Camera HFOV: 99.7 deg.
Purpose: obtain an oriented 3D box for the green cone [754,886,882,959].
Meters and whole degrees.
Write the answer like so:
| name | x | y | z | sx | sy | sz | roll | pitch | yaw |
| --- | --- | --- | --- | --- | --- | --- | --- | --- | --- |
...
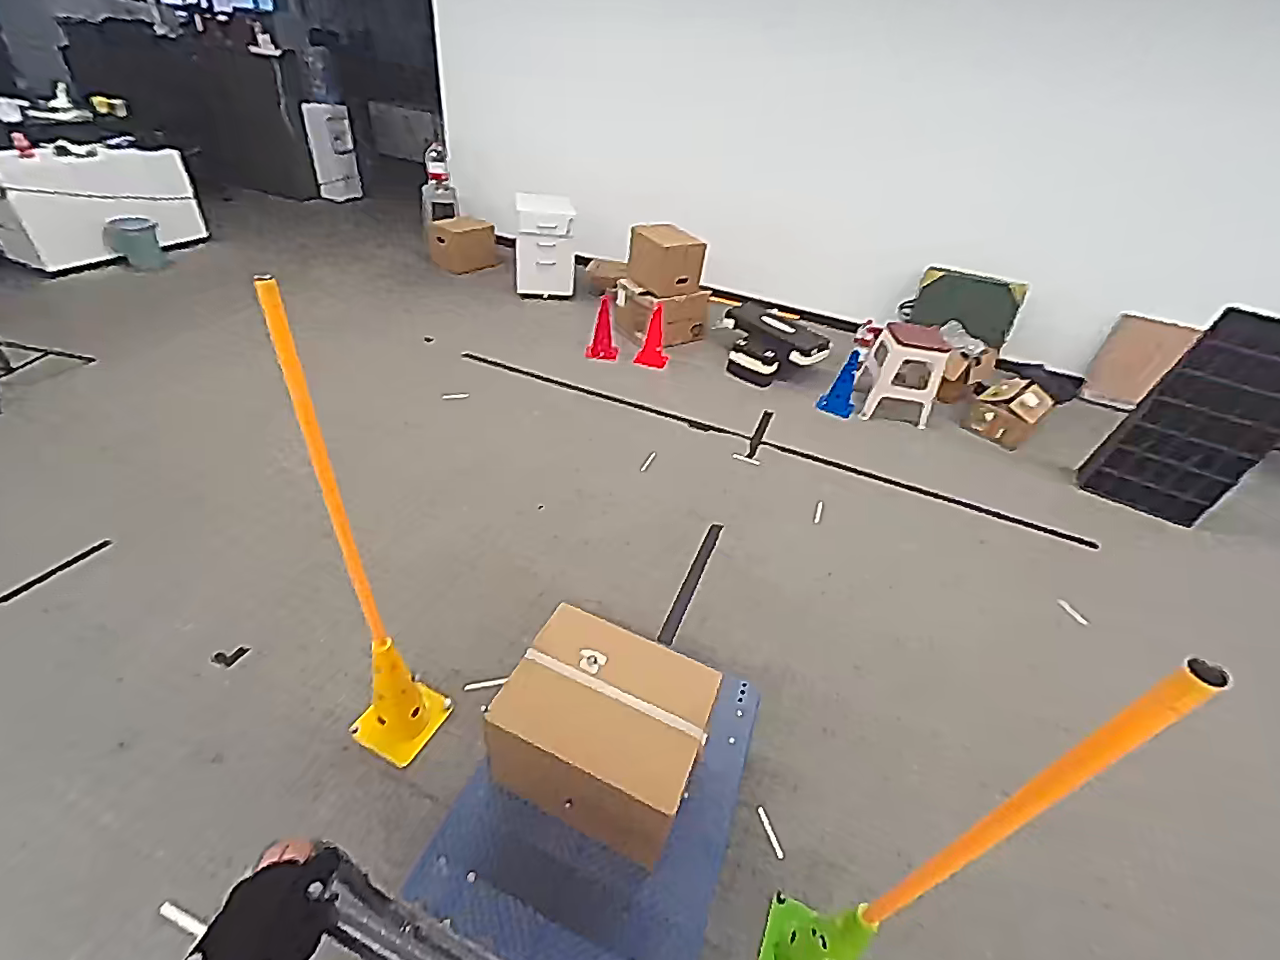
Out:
| name | x | y | z | sx | sy | sz | roll | pitch | yaw |
| --- | --- | --- | --- | --- | --- | --- | --- | --- | --- |
| green cone | 0.385 | 0.914 | 1.080 | 0.202 | 0.368 | 0.200 | 23 | 41 | 16 |

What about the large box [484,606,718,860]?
| name | x | y | z | sx | sy | sz | roll | pitch | yaw |
| --- | --- | --- | --- | --- | --- | --- | --- | --- | --- |
| large box | -0.079 | 0.556 | 1.211 | 0.408 | 0.320 | 0.320 | 20 | 41 | 15 |
